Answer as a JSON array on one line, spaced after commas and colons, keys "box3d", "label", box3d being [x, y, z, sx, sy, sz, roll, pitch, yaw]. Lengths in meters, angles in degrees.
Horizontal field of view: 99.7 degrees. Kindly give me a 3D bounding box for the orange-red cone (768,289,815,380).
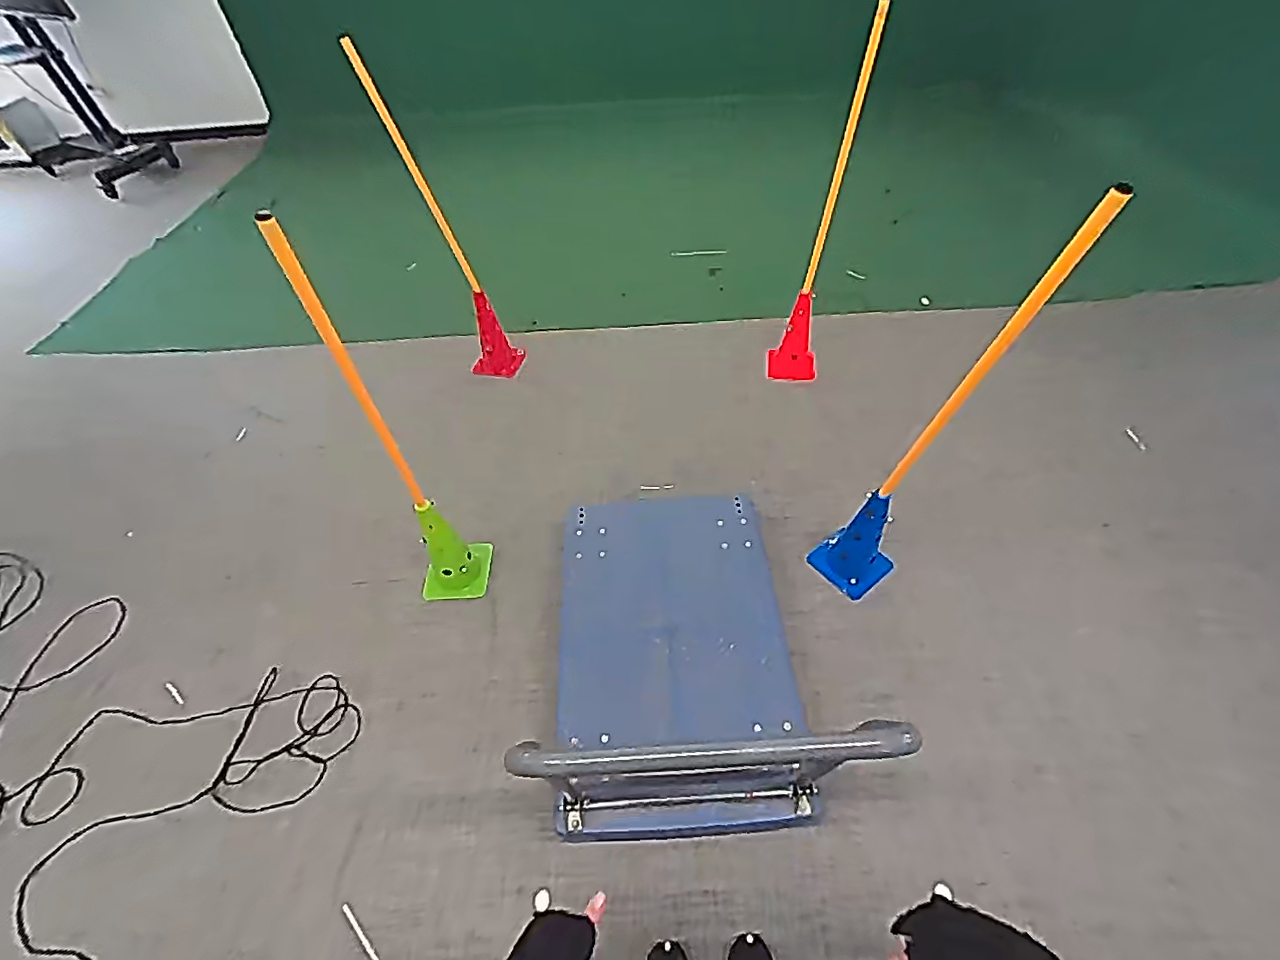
[{"box3d": [0.641, -0.606, 2.193, 0.198, 0.360, 0.199, 5, 52, 9], "label": "orange-red cone"}]
